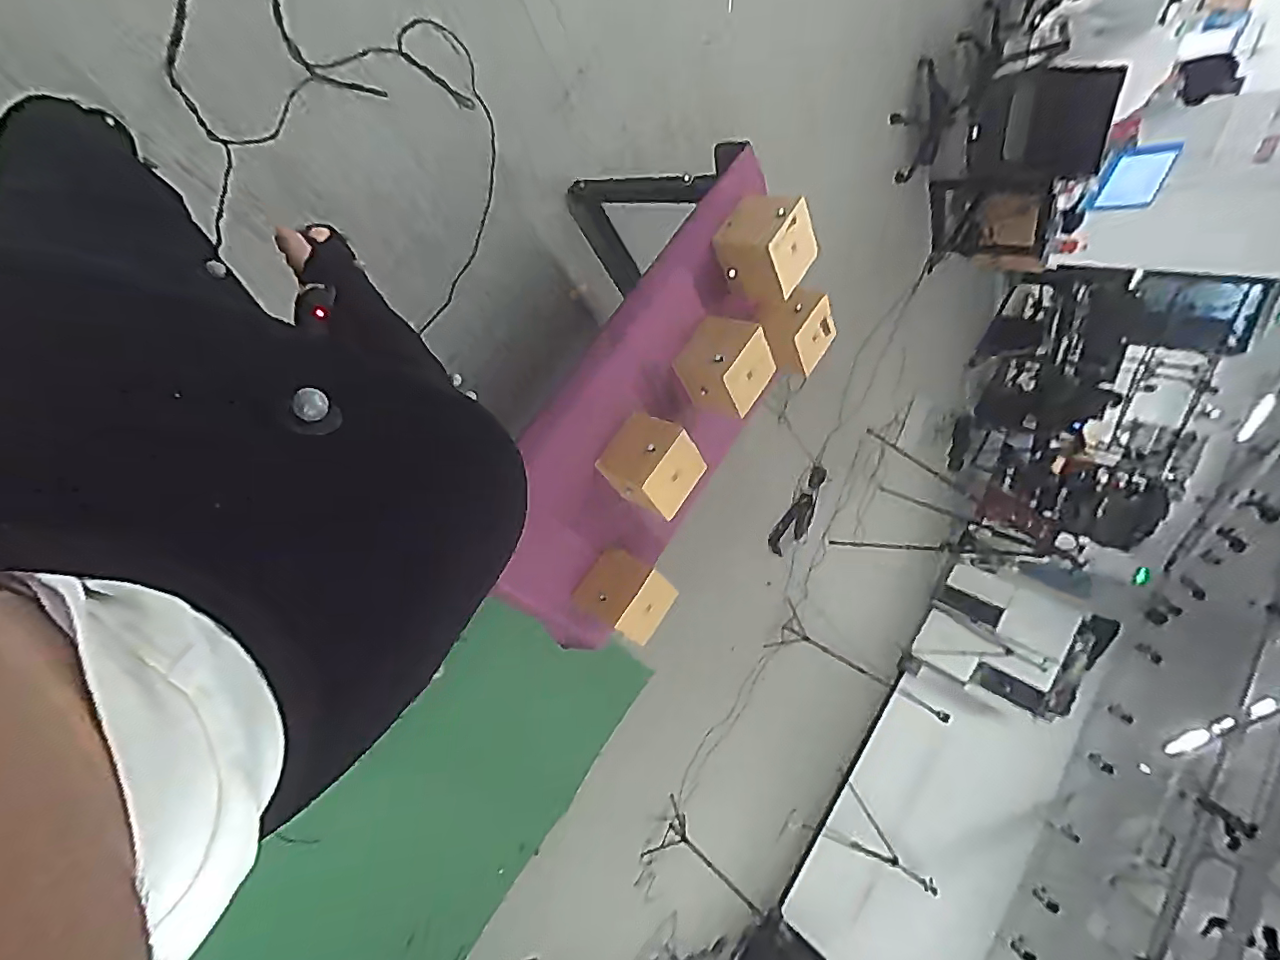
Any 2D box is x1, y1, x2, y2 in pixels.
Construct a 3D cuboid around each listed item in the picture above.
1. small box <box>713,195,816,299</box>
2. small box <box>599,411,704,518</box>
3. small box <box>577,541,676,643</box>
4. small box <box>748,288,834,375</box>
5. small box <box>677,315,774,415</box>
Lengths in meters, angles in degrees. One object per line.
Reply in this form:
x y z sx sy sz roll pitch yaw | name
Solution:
0.310 -0.584 1.348 0.168 0.176 0.179 -56 142 -11 | small box
0.022 -0.042 1.325 0.179 0.176 0.168 -55 140 -13 | small box
-0.043 0.293 1.427 0.179 0.176 0.168 -54 139 -14 | small box
0.433 -0.439 1.567 0.179 0.176 0.168 -54 140 -11 | small box
0.215 -0.300 1.398 0.179 0.176 0.168 -54 141 -12 | small box
